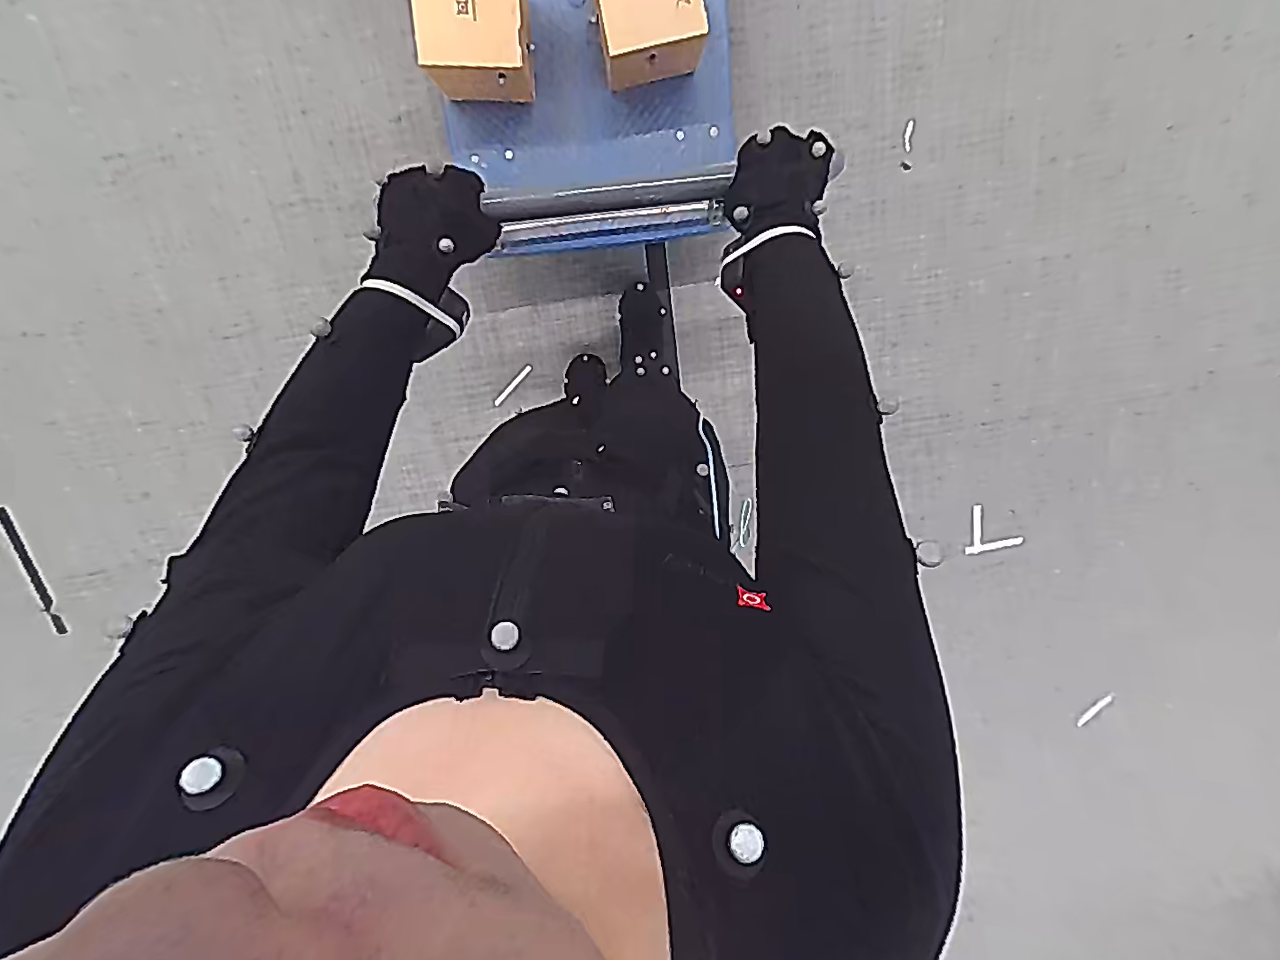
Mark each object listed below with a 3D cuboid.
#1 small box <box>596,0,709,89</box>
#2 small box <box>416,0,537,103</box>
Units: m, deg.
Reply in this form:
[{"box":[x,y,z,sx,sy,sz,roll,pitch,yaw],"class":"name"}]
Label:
[{"box":[0.016,-0.838,0.972,0.179,0.176,0.168,-12,110,1],"class":"small box"},{"box":[-0.286,-0.800,0.970,0.179,0.176,0.168,-2,109,-4],"class":"small box"}]
